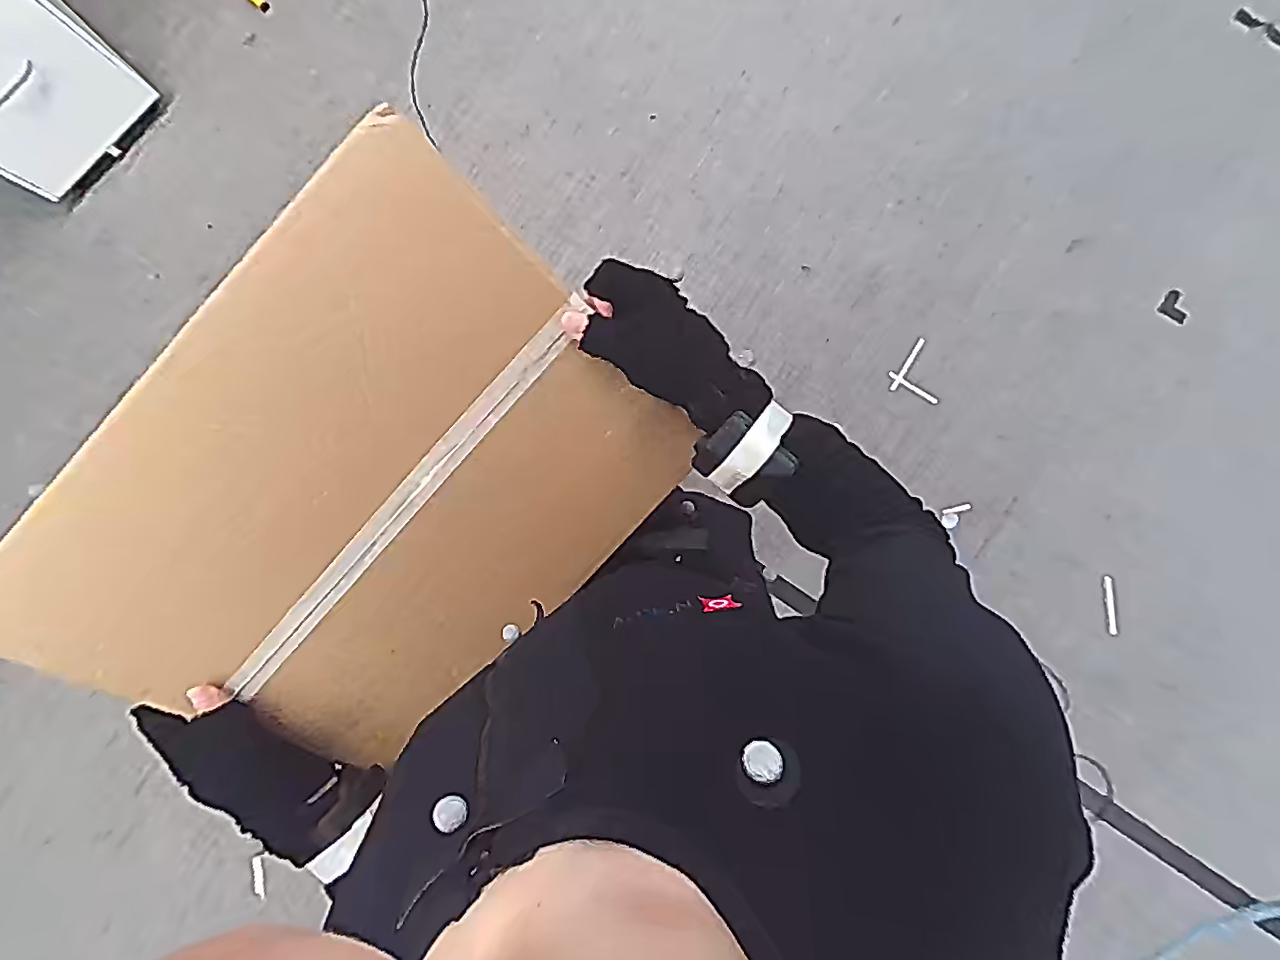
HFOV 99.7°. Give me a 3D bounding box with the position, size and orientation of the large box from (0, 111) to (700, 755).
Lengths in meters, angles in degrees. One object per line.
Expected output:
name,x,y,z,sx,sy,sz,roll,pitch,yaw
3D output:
large box,-0.227,-0.037,0.526,0.408,0.320,0.320,-47,121,4
